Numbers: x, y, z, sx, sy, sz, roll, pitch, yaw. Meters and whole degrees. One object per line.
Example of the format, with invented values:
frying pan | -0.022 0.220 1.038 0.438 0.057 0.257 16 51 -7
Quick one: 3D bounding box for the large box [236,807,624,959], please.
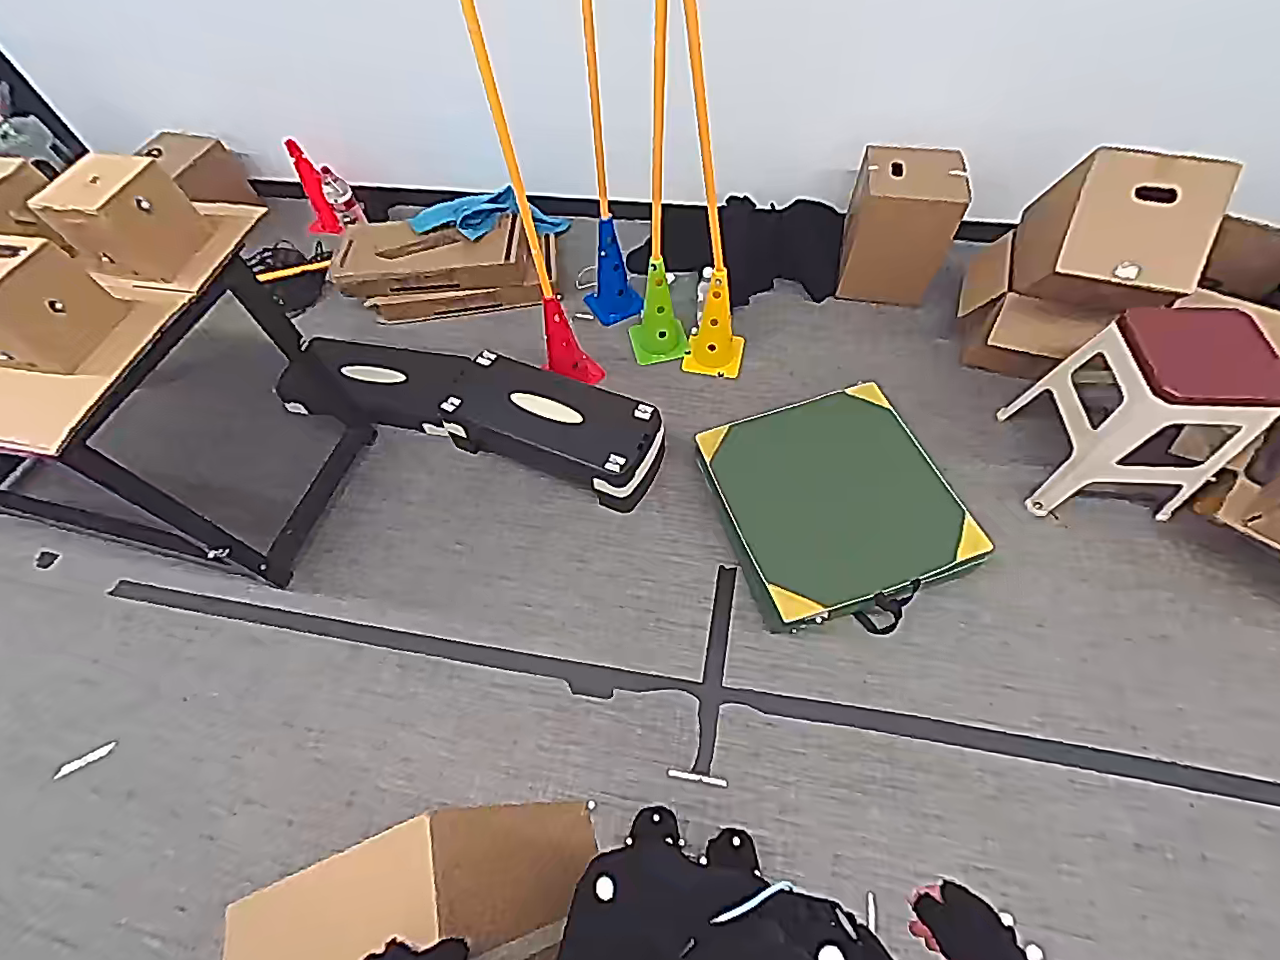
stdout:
large box | -0.251 0.676 0.731 0.320 0.408 0.320 -26 56 8
